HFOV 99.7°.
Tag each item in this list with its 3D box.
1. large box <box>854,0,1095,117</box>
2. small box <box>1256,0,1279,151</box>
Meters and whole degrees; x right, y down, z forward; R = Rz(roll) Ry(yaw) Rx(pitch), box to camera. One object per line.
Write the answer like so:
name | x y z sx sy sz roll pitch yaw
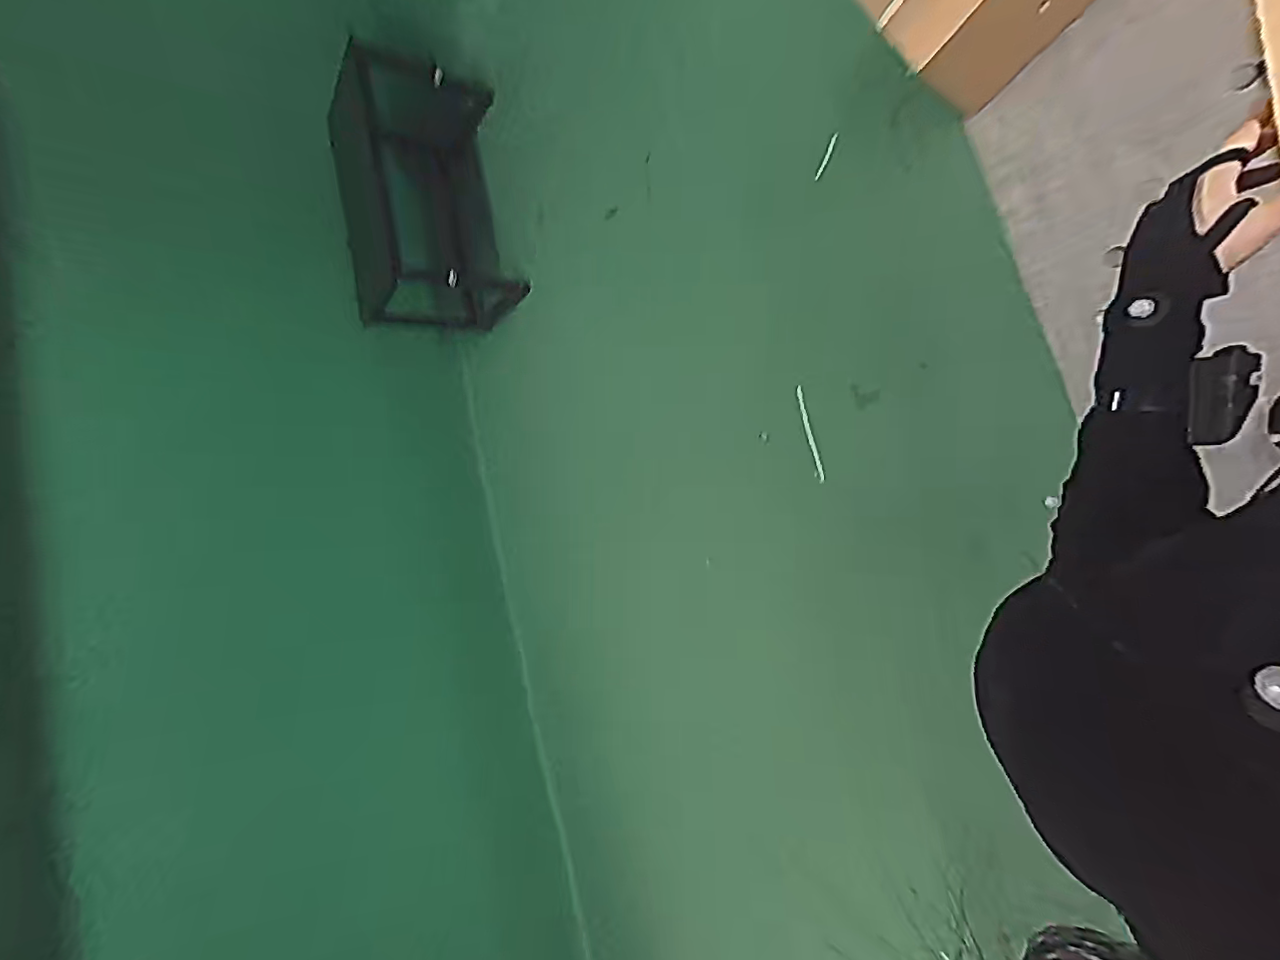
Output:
large box | 0.751 -1.084 1.128 0.408 0.320 0.320 -44 62 46
small box | 0.506 -0.288 0.319 0.179 0.176 0.168 -12 107 50
